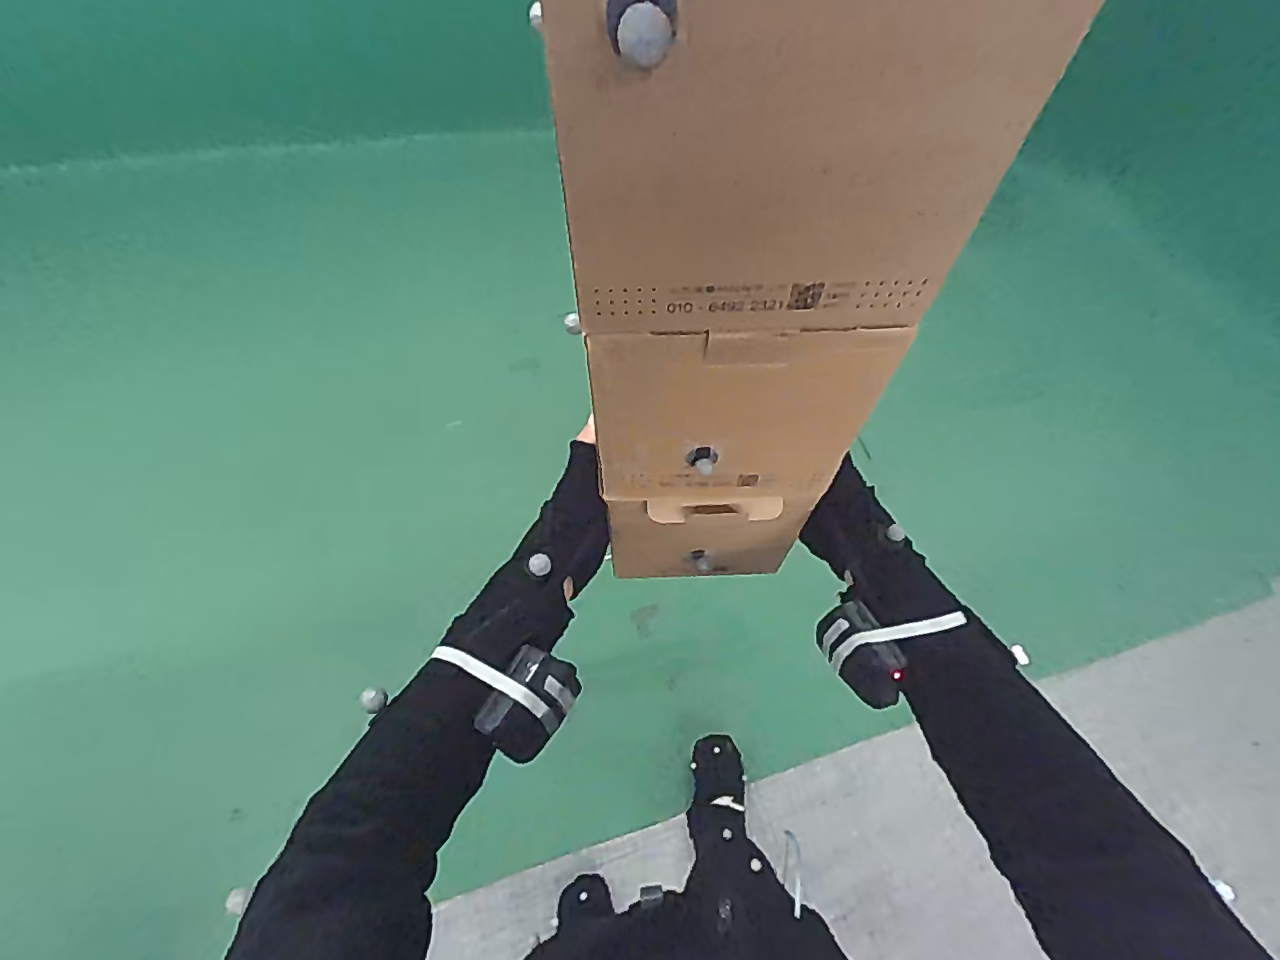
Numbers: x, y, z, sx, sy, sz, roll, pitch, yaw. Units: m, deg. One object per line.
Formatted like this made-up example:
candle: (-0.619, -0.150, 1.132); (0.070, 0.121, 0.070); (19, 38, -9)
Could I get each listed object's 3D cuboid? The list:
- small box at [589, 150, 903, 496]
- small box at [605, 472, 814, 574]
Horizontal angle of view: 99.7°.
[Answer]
small box: (0.051, -0.105, 0.387); (0.168, 0.176, 0.179); (-2, 59, -1)
small box: (0.052, -0.021, 0.527); (0.168, 0.176, 0.179); (-1, 59, -1)
